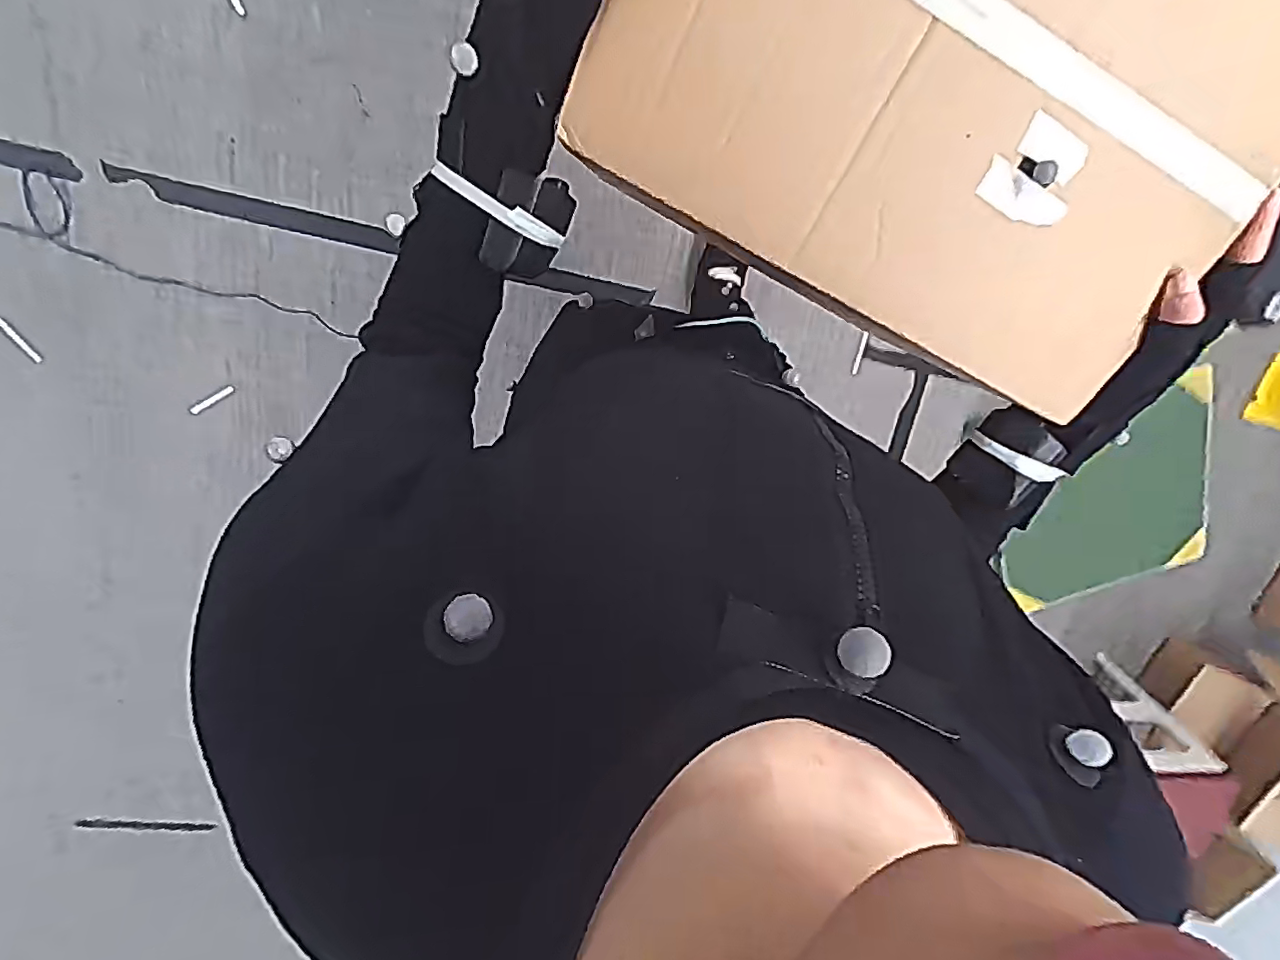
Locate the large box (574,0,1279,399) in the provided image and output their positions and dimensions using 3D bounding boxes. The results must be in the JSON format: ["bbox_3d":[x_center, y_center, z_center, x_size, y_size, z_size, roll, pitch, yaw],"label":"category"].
[{"bbox_3d":[0.197,-0.322,0.448,0.408,0.320,0.320,24,114,-11],"label":"large box"}]
